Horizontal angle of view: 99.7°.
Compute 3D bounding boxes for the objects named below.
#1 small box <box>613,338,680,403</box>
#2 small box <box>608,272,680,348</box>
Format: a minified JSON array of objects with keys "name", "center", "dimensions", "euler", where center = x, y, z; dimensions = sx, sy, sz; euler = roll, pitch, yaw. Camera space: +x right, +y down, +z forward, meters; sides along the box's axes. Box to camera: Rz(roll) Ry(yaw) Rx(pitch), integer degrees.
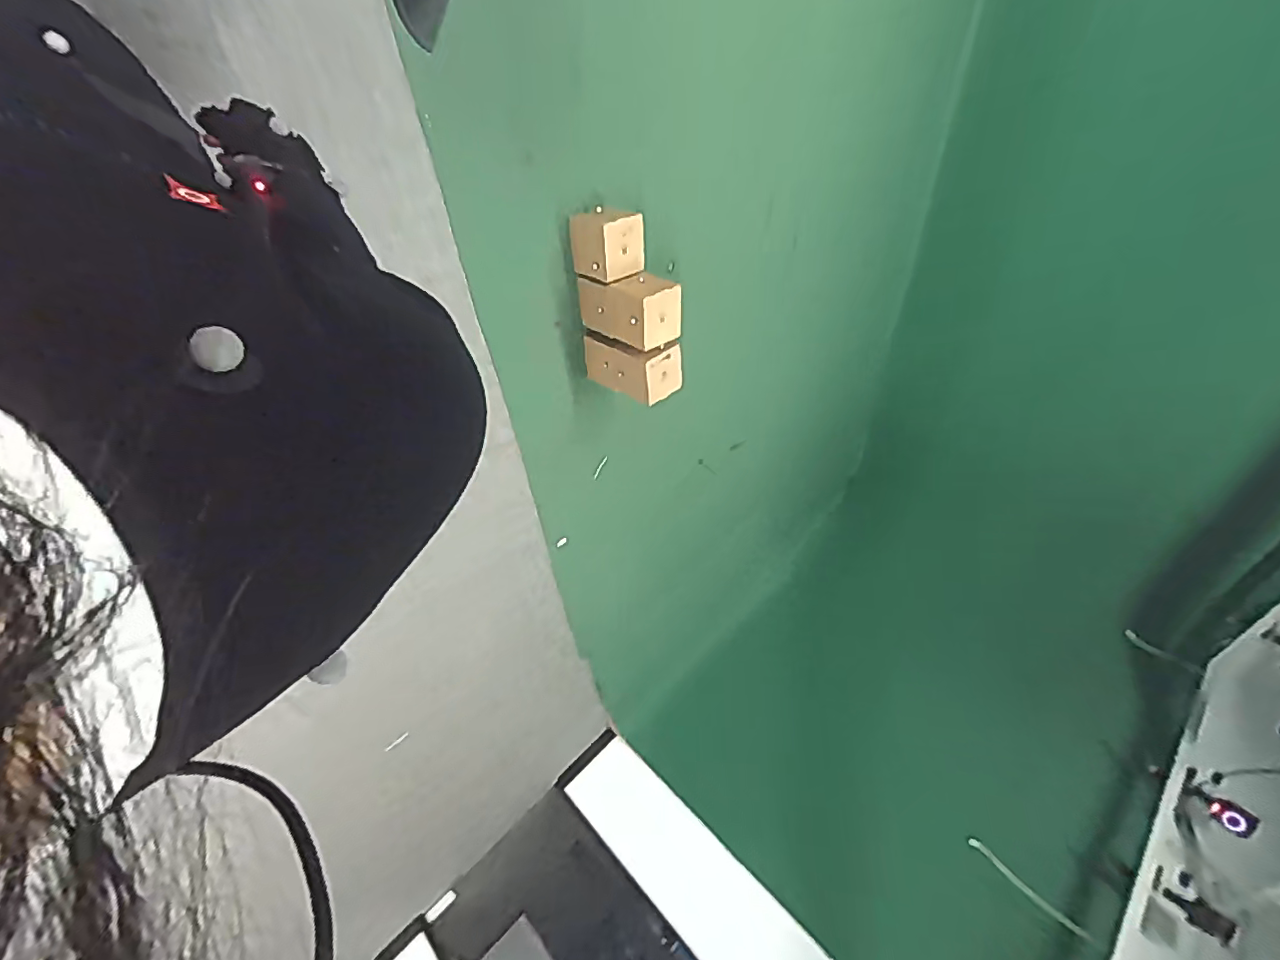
[{"name":"small box","center":[0.022,-0.405,1.891],"dimensions":[0.168,0.176,0.179],"euler":[-36,140,-29]},{"name":"small box","center":[0.011,-0.559,1.763],"dimensions":[0.168,0.176,0.179],"euler":[-31,136,-31]}]
